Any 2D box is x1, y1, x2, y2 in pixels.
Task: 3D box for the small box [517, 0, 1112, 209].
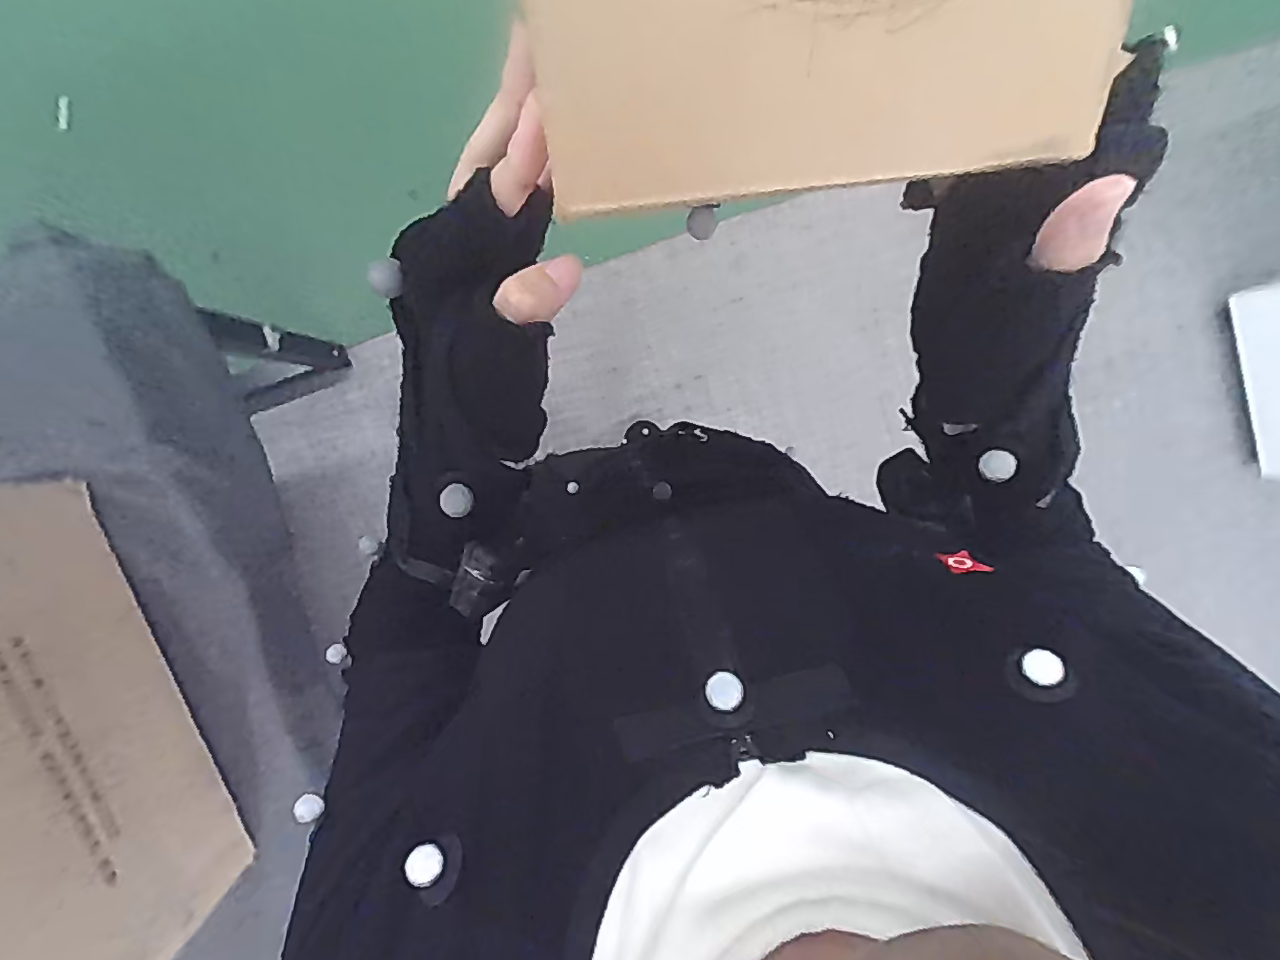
[{"bbox_3d":[0.037,-0.202,0.196,0.168,0.176,0.179,-7,118,-2],"label":"small box"}]
